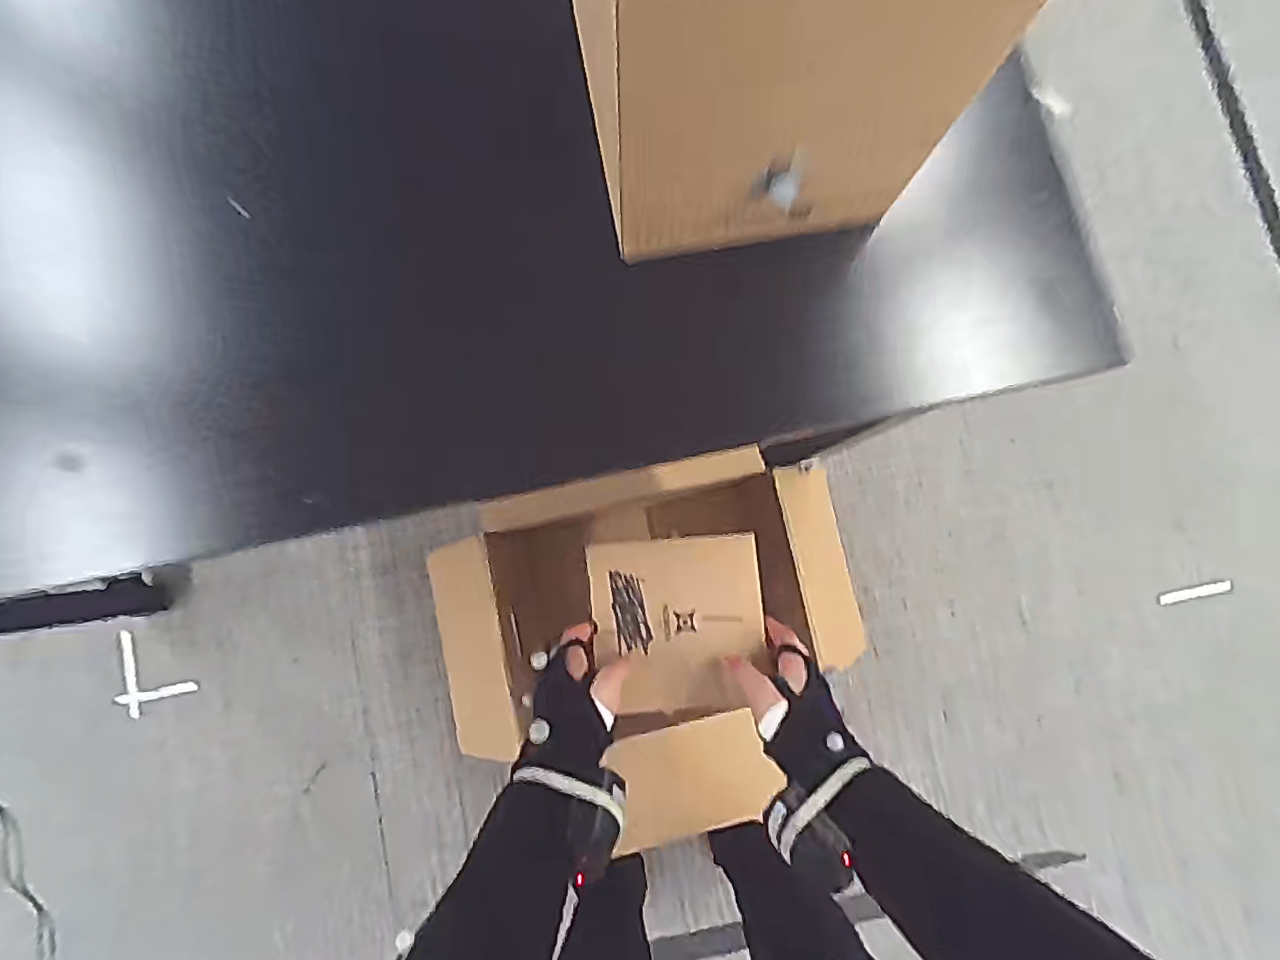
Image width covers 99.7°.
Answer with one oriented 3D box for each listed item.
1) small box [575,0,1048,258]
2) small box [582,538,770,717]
[{"bbox_3d":[0.055,-0.239,0.259,0.168,0.176,0.179,-10,83,-2],"label":"small box"},{"bbox_3d":[0.034,0.158,0.602,0.179,0.176,0.168,-3,78,-1],"label":"small box"}]
